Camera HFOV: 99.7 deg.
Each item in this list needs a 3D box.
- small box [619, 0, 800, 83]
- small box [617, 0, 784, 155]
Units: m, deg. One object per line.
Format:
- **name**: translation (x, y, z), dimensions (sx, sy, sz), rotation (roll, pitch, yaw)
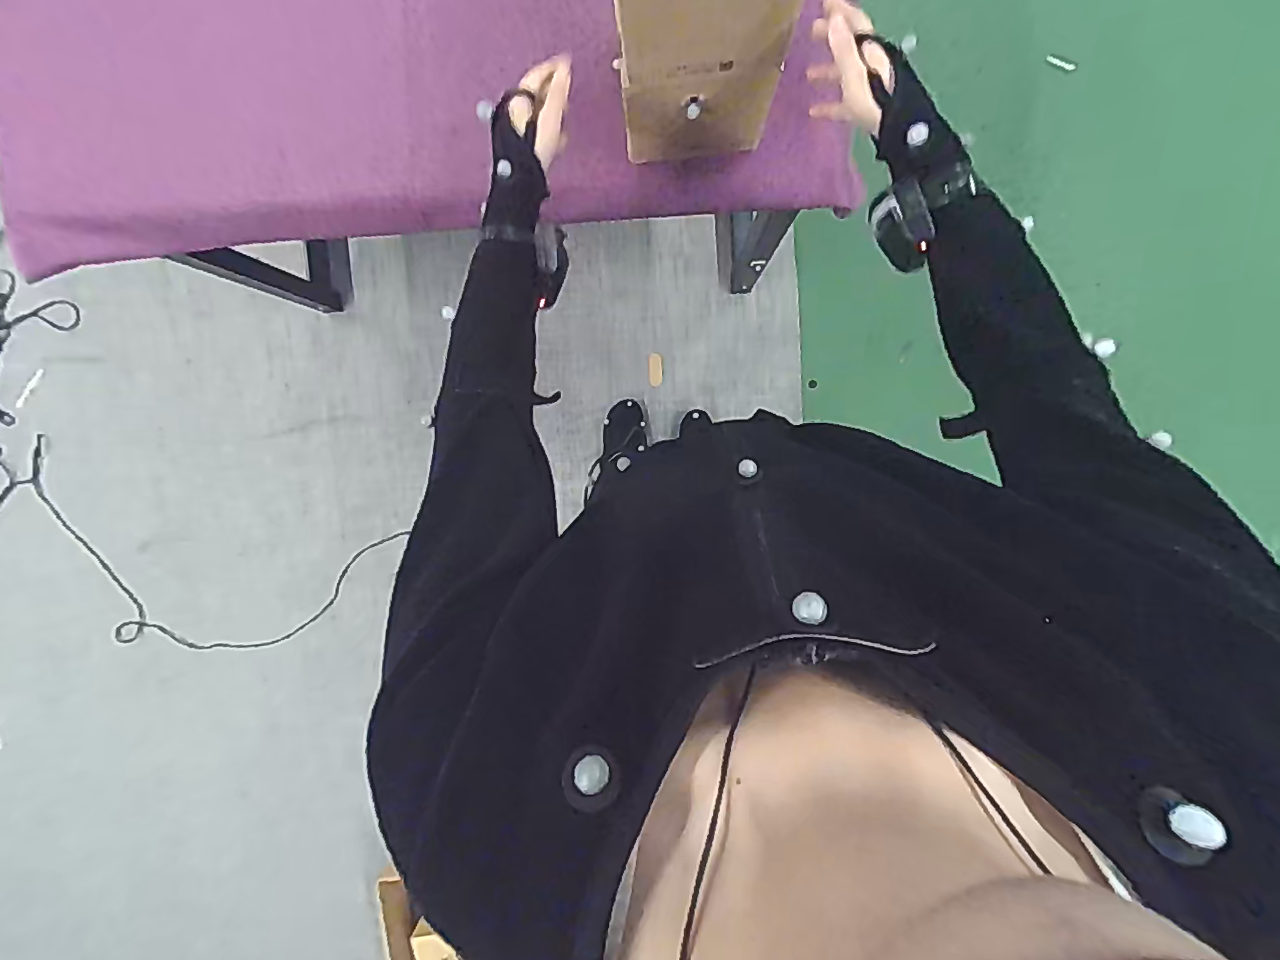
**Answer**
- **small box**: translation (0.059, -0.510, 0.490), dimensions (0.168, 0.176, 0.179), rotation (-4, 96, 6)
- **small box**: translation (0.068, -0.524, 0.653), dimensions (0.179, 0.176, 0.168), rotation (-4, 96, 5)
